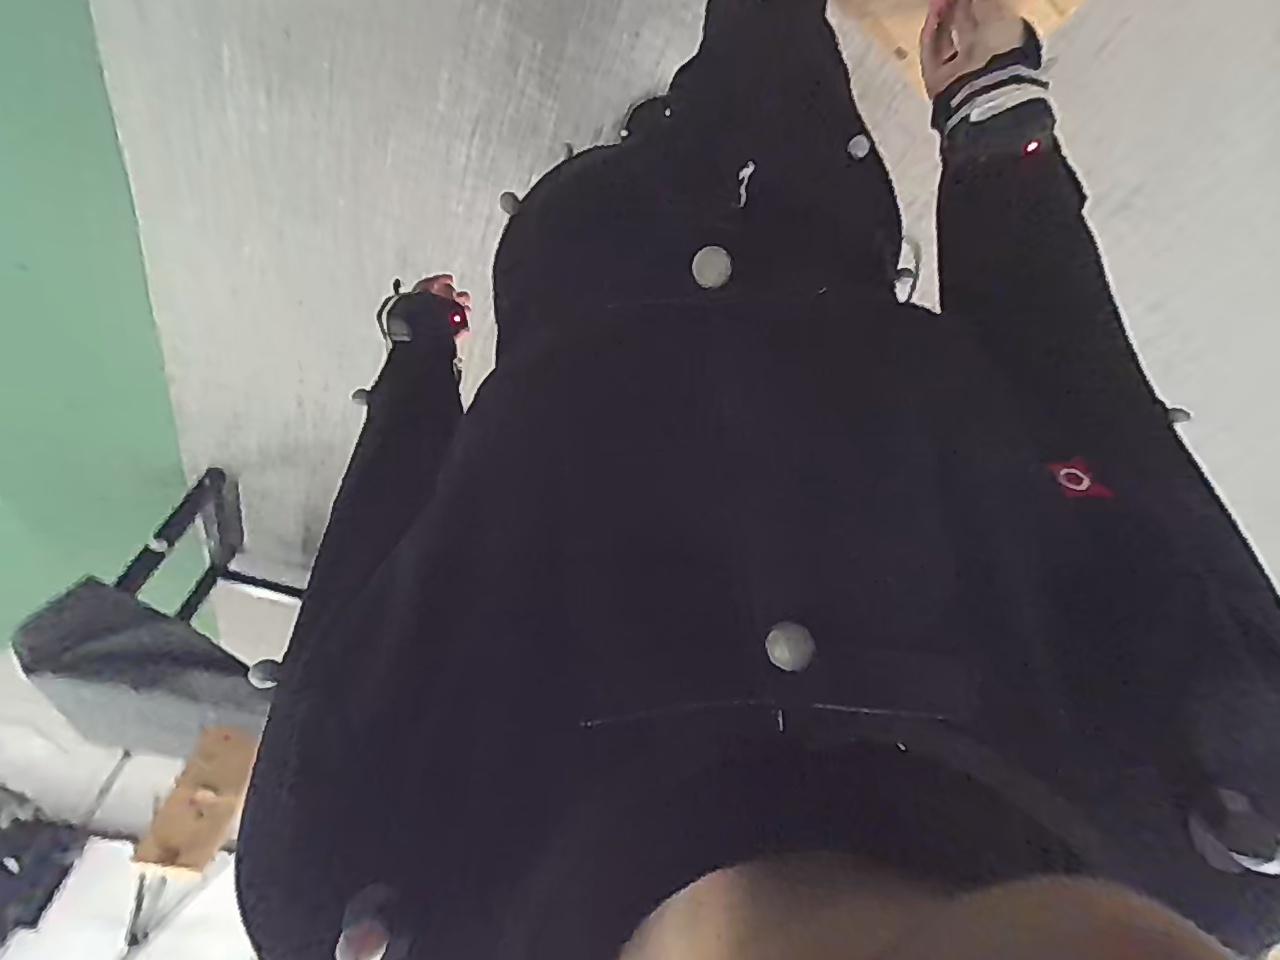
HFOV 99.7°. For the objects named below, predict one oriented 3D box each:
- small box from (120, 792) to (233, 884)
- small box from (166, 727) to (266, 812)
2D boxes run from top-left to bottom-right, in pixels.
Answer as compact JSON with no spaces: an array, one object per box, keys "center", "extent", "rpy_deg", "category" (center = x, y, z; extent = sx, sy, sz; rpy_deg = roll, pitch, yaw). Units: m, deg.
[{"center":[-1.217,0.947,1.433],"extent":[0.168,0.176,0.179],"rpy_deg":[25,132,-19],"category":"small box"},{"center":[-1.196,0.821,1.535],"extent":[0.168,0.176,0.179],"rpy_deg":[24,134,-18],"category":"small box"}]
